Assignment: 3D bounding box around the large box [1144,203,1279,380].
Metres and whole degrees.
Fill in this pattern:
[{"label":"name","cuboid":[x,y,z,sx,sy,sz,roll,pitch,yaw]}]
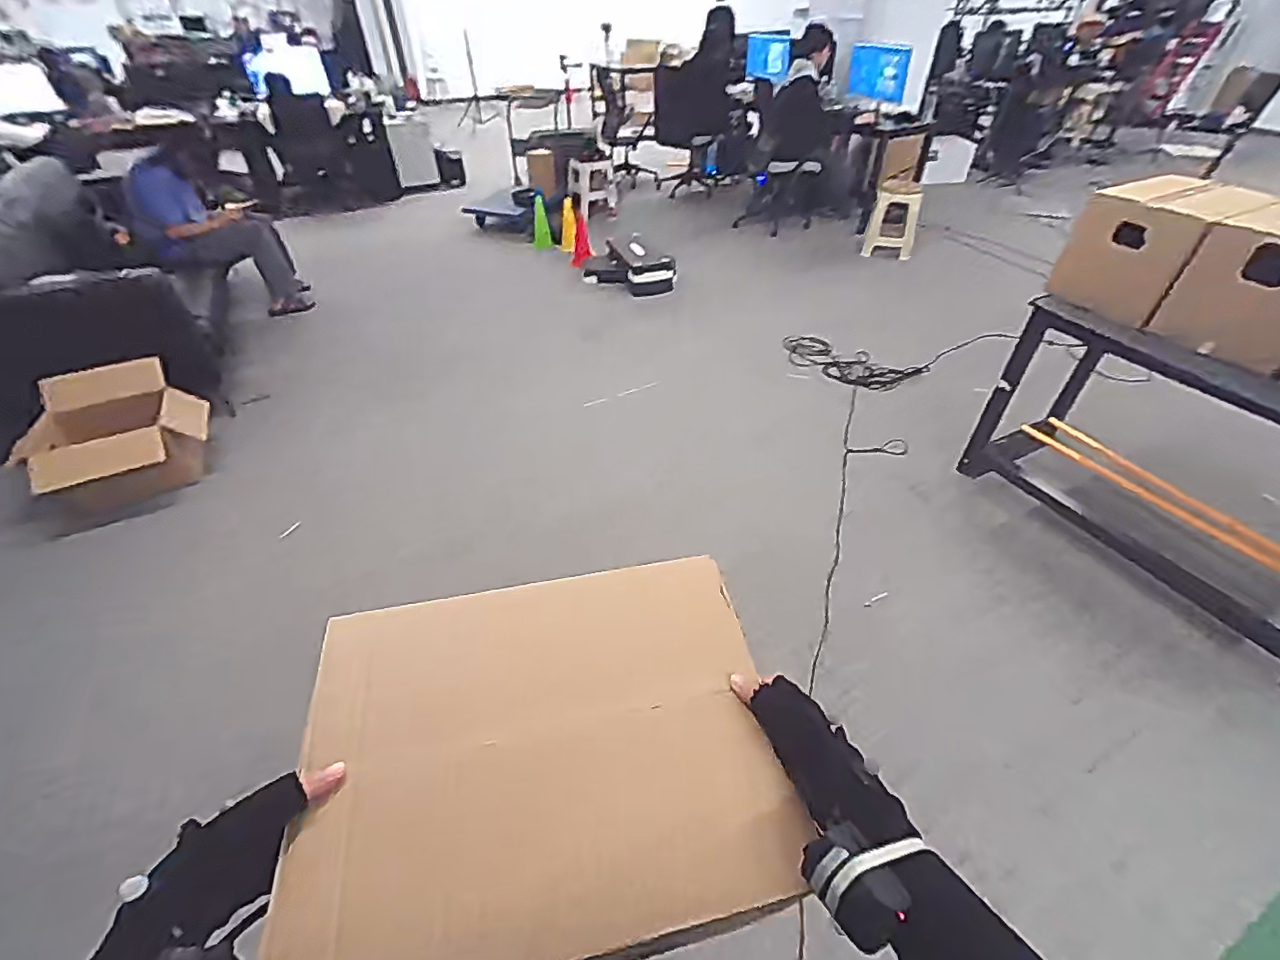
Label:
[{"label":"large box","cuboid":[1.722,-0.521,1.465,0.408,0.320,0.320,-21,44,-19]}]
